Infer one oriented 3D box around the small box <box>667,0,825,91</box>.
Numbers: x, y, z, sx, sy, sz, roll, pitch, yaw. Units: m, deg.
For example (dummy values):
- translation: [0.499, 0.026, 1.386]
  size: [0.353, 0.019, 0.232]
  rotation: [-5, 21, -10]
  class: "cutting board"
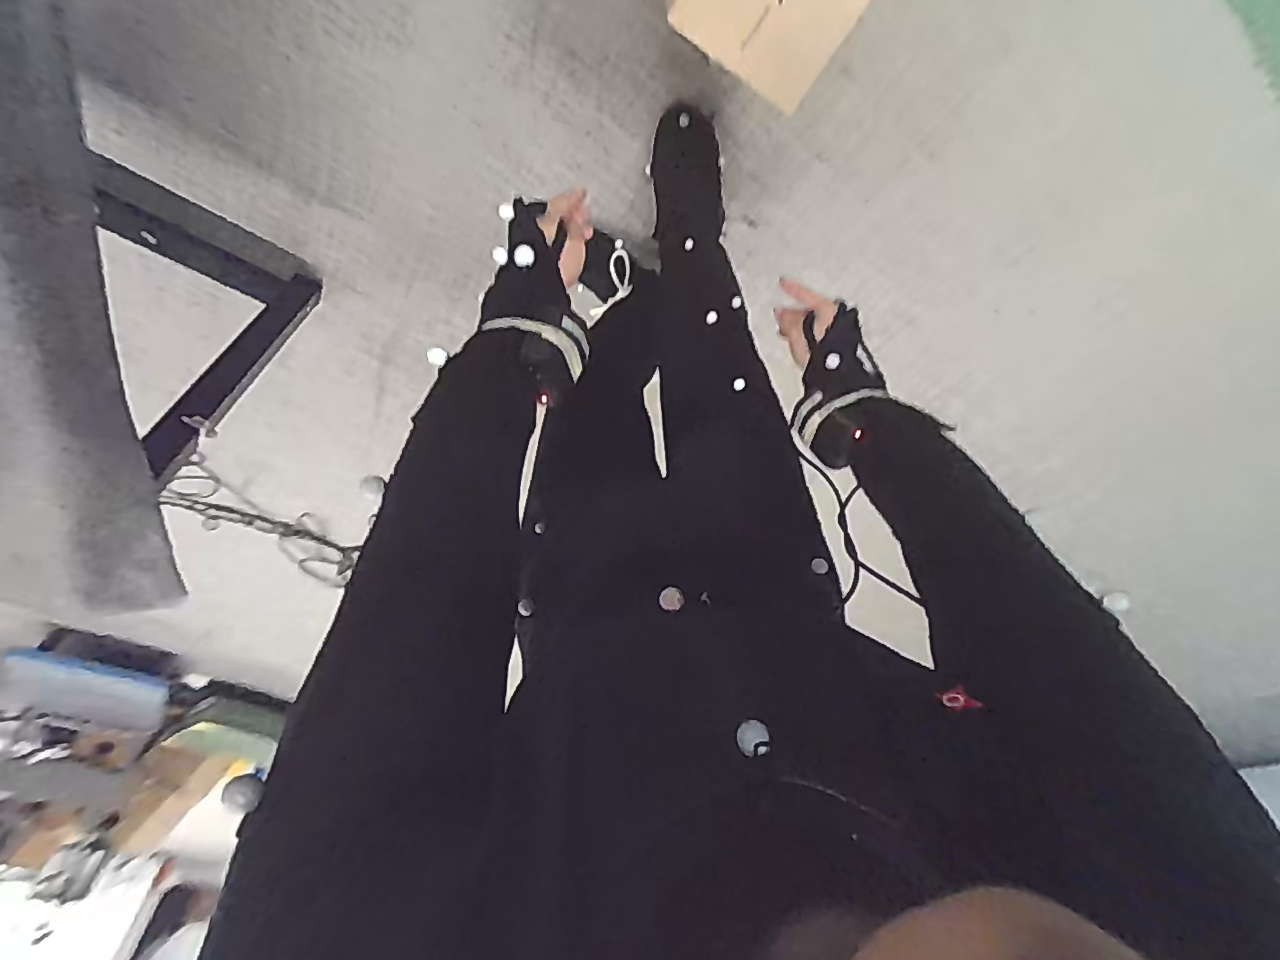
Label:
- translation: [0.145, -0.651, 0.684]
  size: [0.168, 0.176, 0.179]
  rotation: [24, 134, -20]
  class: "small box"
